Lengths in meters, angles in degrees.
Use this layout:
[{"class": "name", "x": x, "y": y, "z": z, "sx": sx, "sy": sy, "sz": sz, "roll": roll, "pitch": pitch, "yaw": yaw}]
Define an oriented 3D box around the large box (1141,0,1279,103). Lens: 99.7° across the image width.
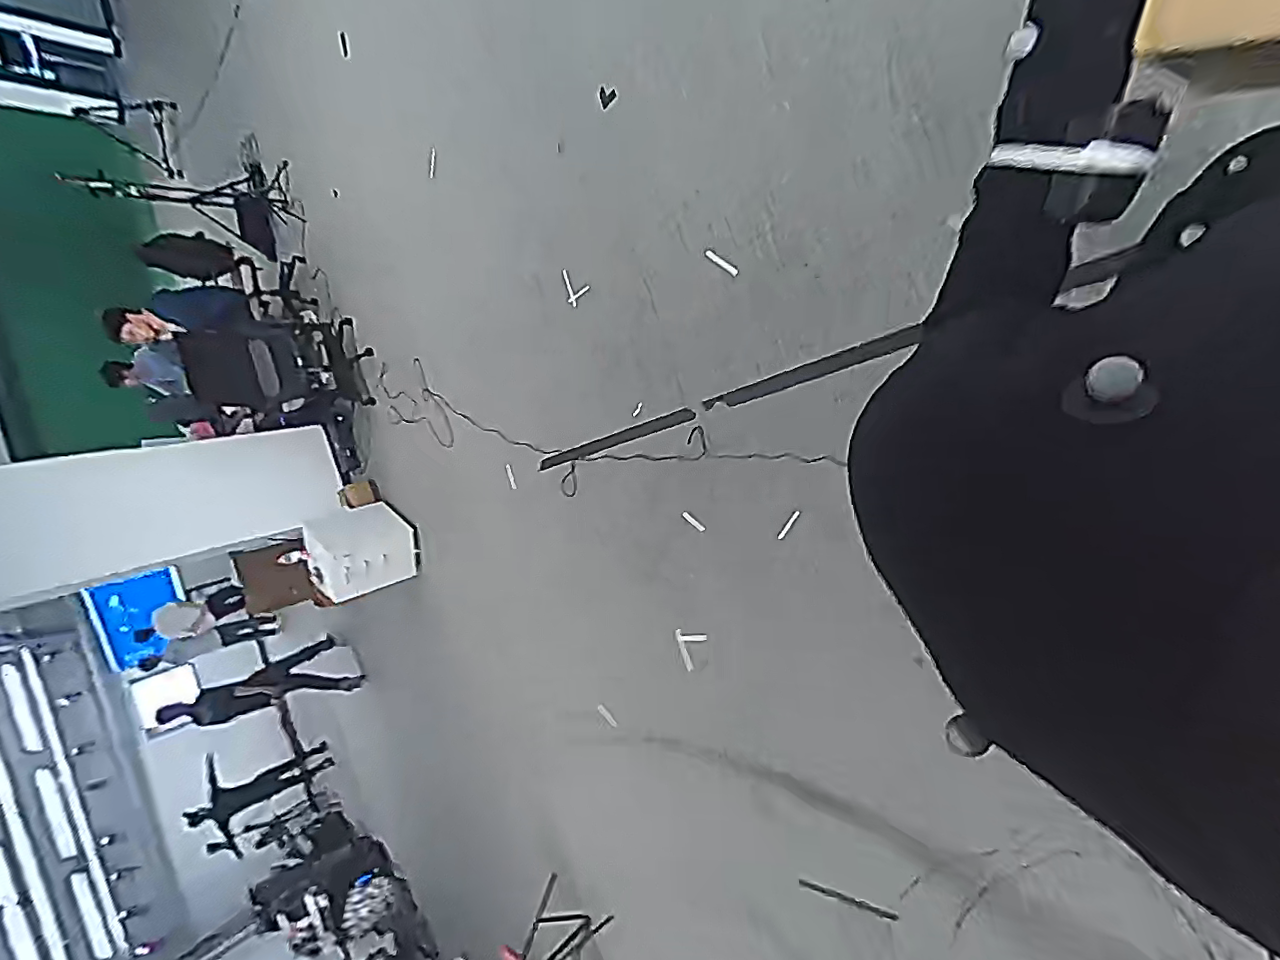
[{"class": "large box", "x": 0.530, "y": -0.371, "z": 0.212, "sx": 0.408, "sy": 0.320, "sz": 0.320, "roll": 25, "pitch": 129, "yaw": 40}]
